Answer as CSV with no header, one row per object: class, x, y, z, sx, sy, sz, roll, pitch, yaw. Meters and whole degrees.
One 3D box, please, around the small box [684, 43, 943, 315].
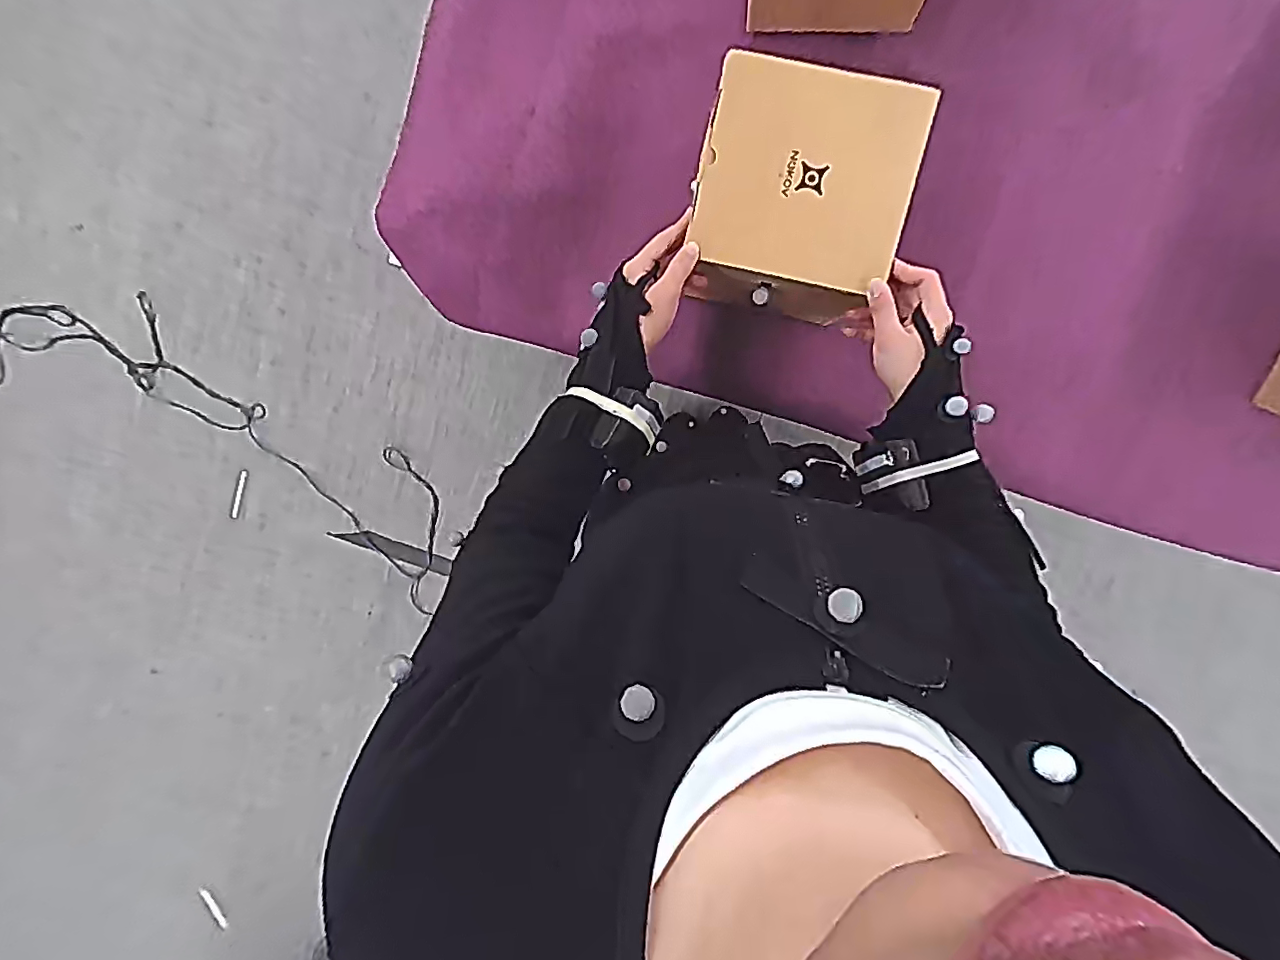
small box,0.145,-0.264,0.520,0.179,0.176,0.168,13,99,3
